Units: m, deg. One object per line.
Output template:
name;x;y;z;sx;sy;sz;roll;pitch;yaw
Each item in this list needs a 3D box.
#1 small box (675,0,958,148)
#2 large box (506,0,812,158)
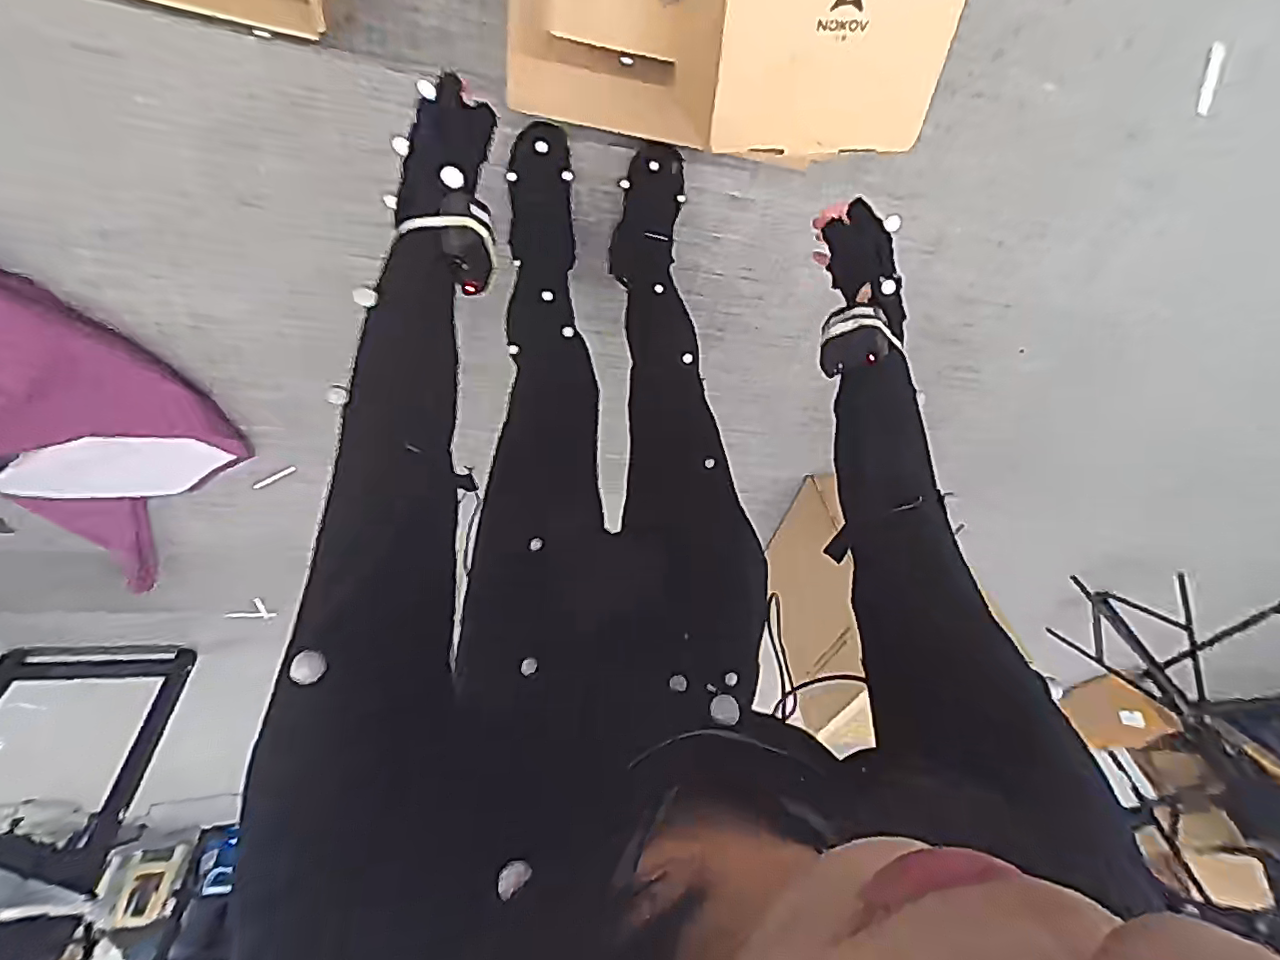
small box;0.123;-0.376;0.409;0.168;0.176;0.179;-4;138;-6
large box;0.040;-0.652;0.687;0.408;0.320;0.320;3;134;-14
